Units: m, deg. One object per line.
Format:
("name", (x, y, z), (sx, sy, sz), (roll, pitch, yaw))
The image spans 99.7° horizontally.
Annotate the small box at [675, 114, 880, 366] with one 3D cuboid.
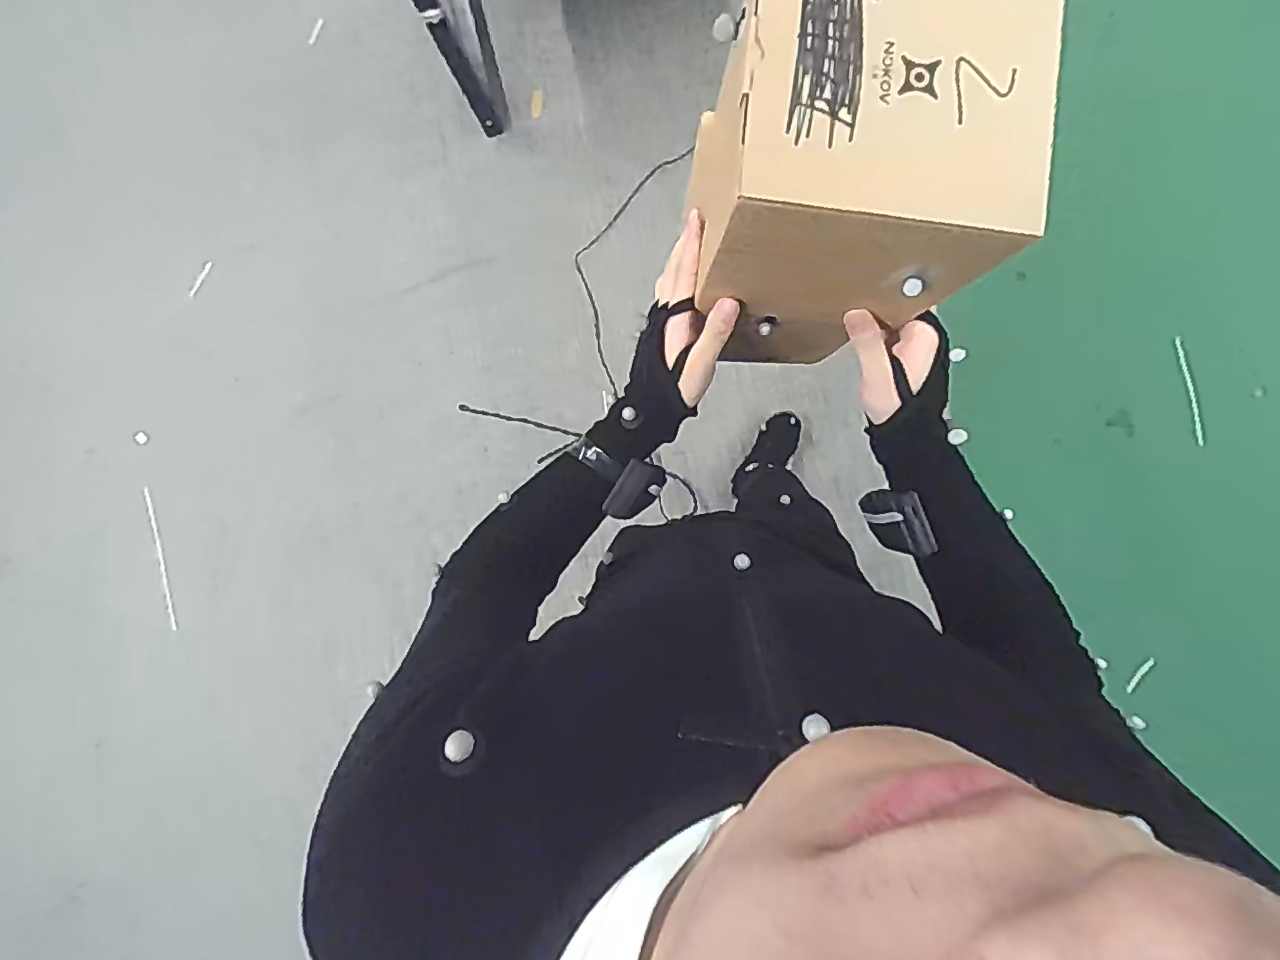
("small box", (0.125, -0.226, 0.549), (0.168, 0.176, 0.179), (2, 87, -1))
